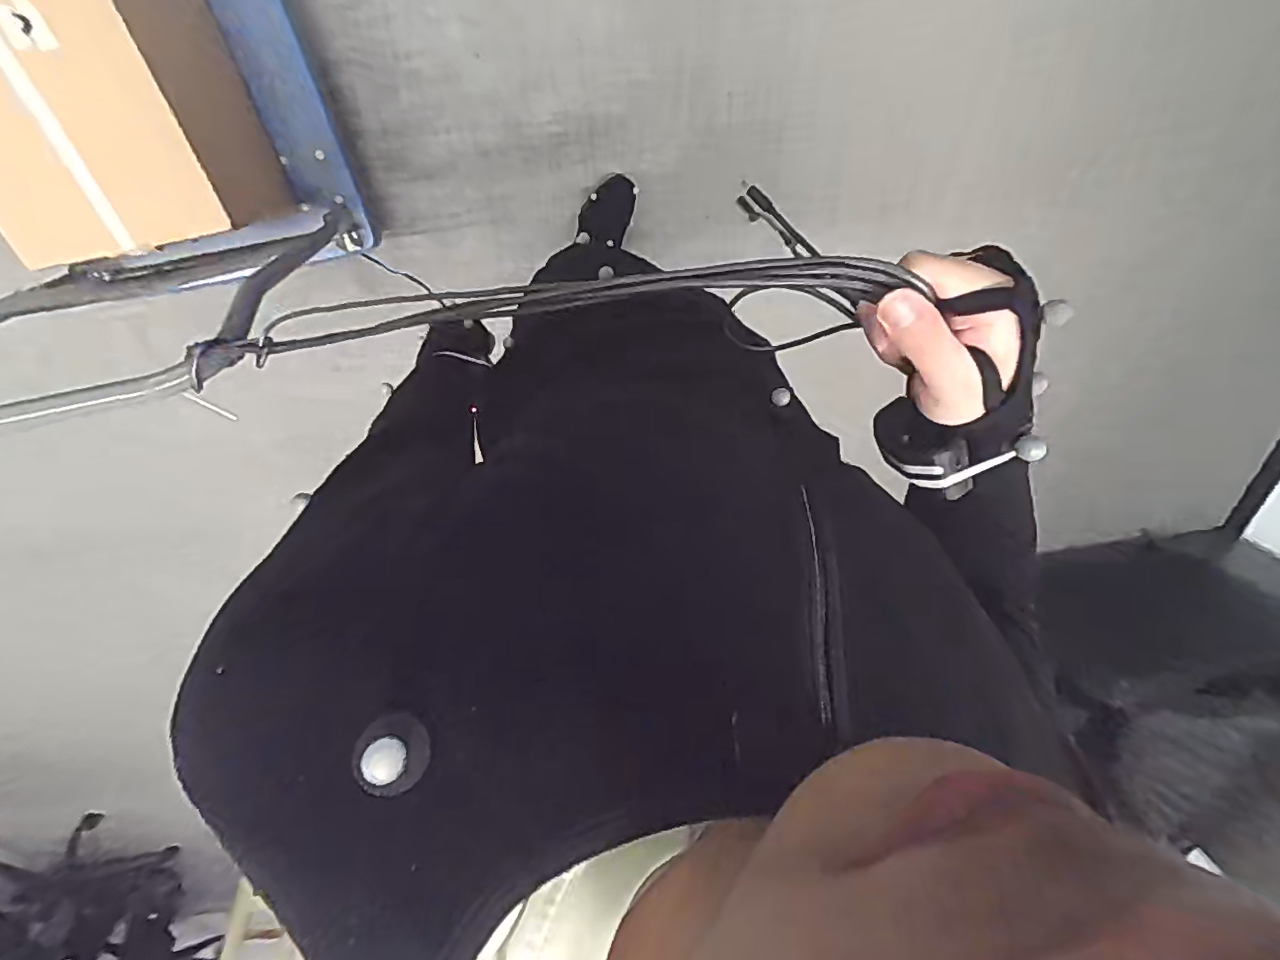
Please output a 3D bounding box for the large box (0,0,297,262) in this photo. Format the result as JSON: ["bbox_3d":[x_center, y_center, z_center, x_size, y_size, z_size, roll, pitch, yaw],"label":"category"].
[{"bbox_3d":[-0.838,-0.603,0.847,0.320,0.320,0.408,-14,122,-4],"label":"large box"}]
